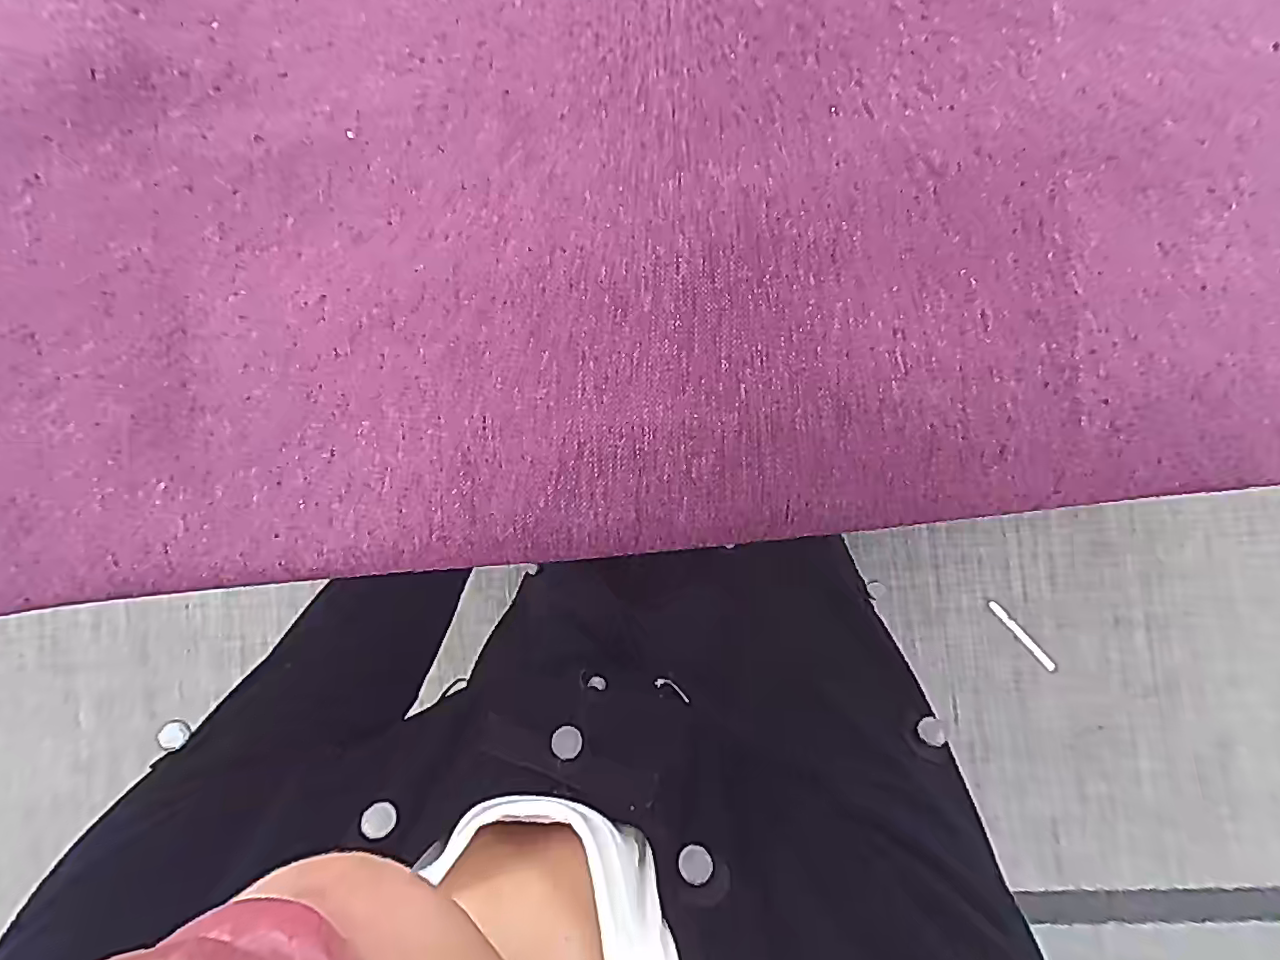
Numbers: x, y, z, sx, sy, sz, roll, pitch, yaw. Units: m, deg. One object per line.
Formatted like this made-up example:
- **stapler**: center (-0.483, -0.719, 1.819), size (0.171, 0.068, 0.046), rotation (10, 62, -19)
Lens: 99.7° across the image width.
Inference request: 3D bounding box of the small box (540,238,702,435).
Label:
- **small box**: center (-0.018, -0.178, 0.721), size (0.168, 0.176, 0.179), rotation (-13, 78, 8)
